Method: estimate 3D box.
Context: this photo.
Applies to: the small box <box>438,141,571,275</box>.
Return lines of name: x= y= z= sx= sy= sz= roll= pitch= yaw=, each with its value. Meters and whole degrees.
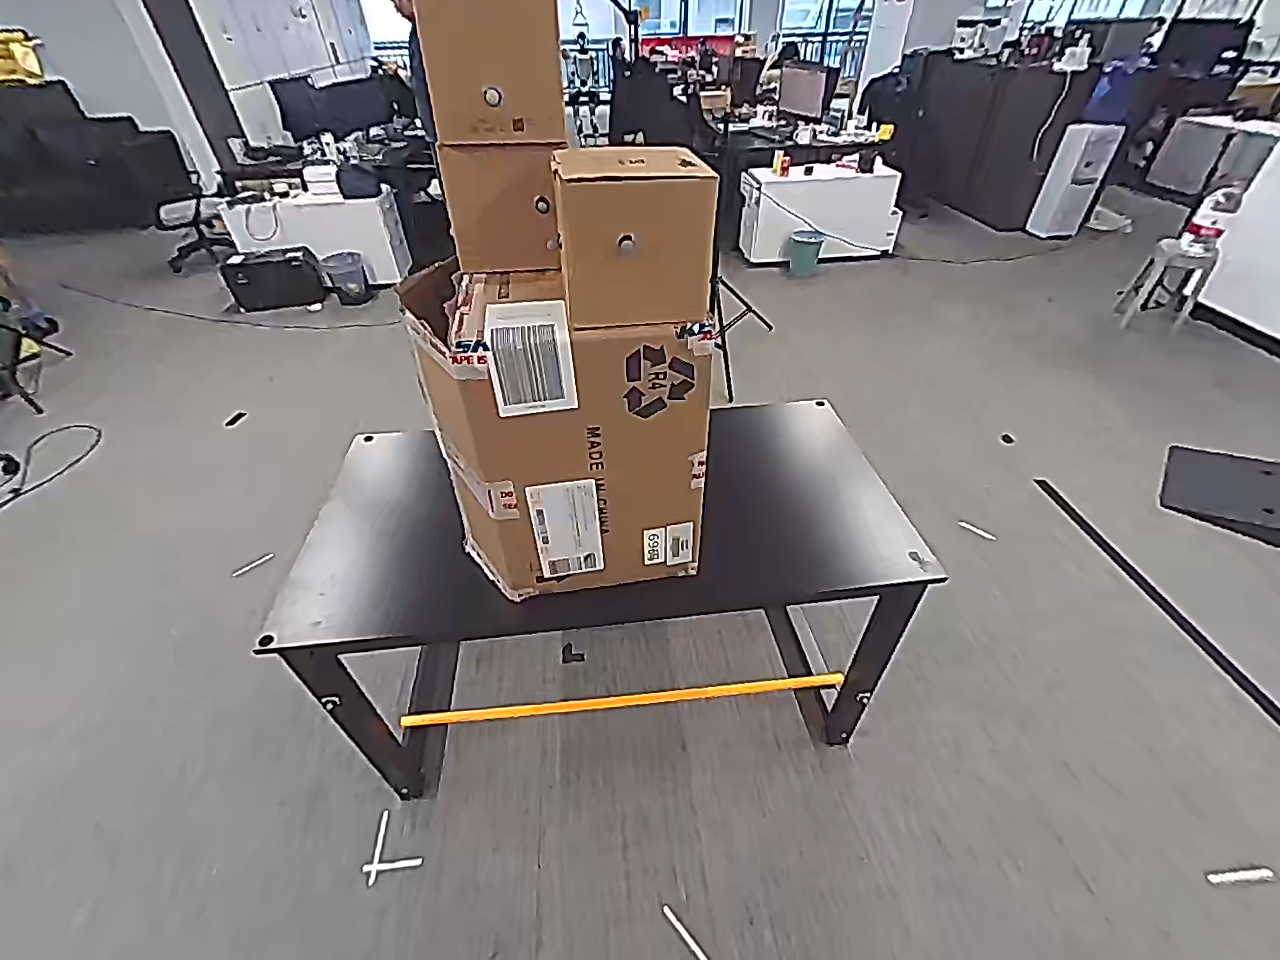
small box: x=-0.192 y=-0.427 z=0.831 sx=0.179 sy=0.176 sz=0.168 roll=-7 pitch=38 yaw=-7

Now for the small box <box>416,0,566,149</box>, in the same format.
small box: x=-0.190 y=-0.553 z=0.724 sx=0.168 sy=0.176 sz=0.179 roll=-6 pitch=39 yaw=-7

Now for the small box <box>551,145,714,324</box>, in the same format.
small box: x=-0.013 y=-0.312 z=0.692 sx=0.179 sy=0.176 sz=0.168 roll=-7 pitch=43 yaw=-7
